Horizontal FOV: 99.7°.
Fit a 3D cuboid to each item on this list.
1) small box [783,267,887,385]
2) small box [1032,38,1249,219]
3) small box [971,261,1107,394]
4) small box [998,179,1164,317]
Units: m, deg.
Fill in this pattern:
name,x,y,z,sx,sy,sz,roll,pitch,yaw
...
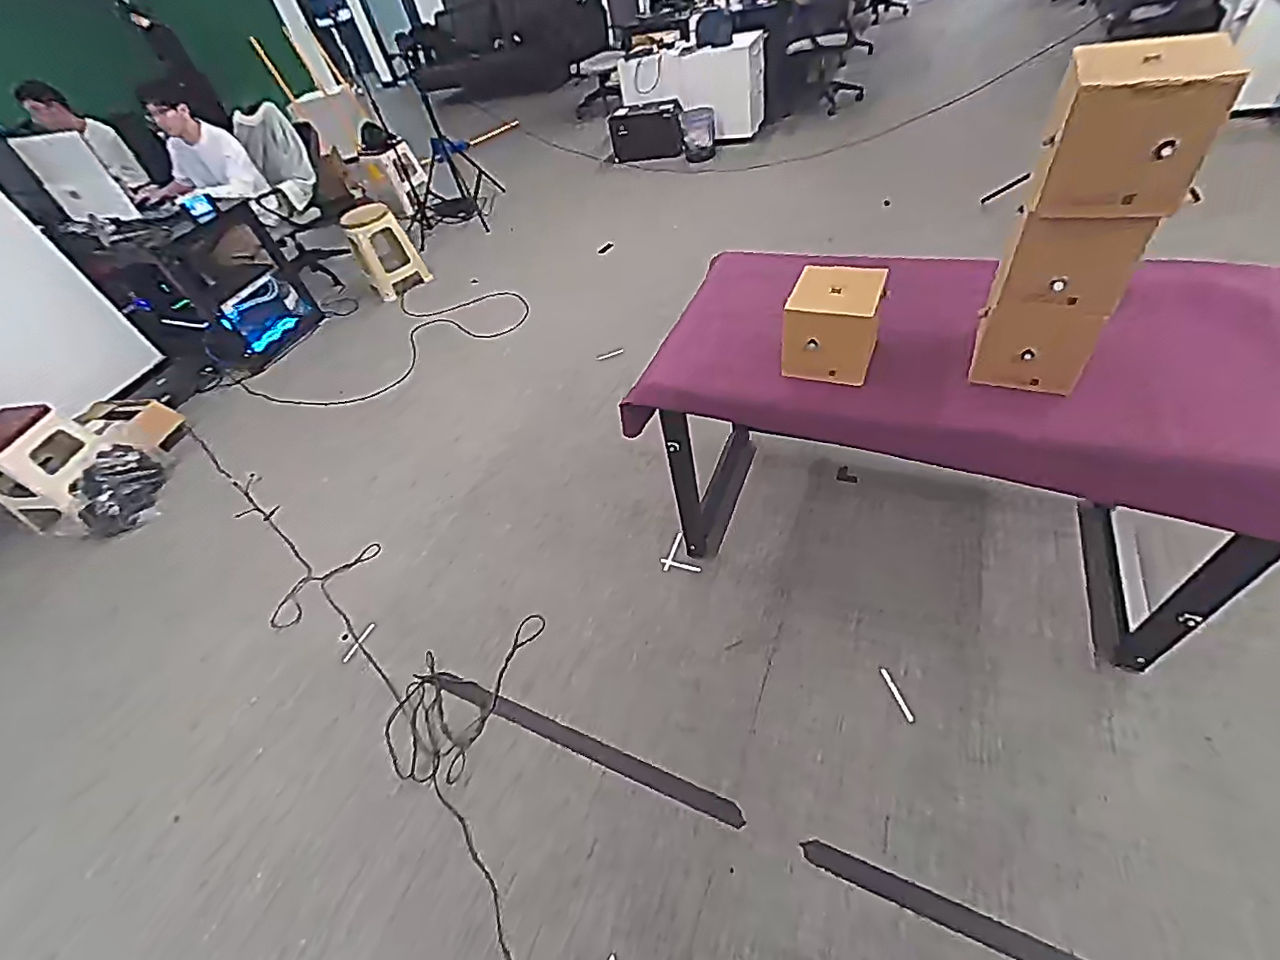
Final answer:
name,x,y,z,sx,sy,sz,roll,pitch,yaw
small box,0.402,-0.318,1.122,0.168,0.176,0.179,13,52,23
small box,0.678,-0.485,0.759,0.168,0.176,0.179,12,52,22
small box,0.738,-0.284,1.010,0.168,0.176,0.179,15,54,24
small box,0.713,-0.394,0.891,0.168,0.176,0.179,14,54,25
